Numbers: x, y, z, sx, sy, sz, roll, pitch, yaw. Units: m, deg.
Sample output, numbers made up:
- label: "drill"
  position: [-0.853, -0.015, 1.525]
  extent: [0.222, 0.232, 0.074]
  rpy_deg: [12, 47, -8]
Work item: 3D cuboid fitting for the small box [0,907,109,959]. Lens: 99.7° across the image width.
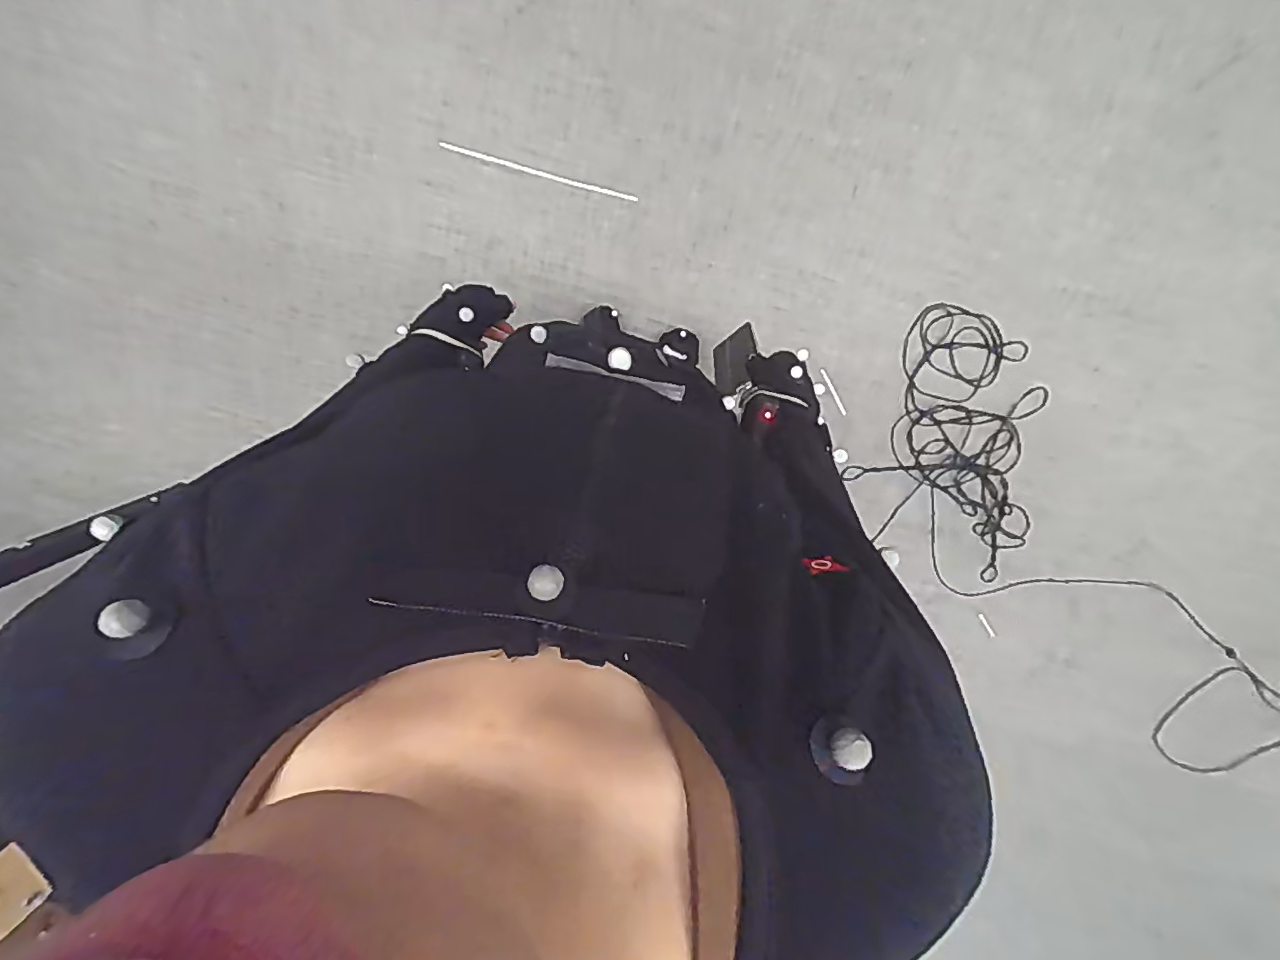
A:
- label: "small box"
  position: [-1.123, 0.933, 0.981]
  extent: [0.168, 0.176, 0.179]
  rpy_deg: [17, 107, -5]
